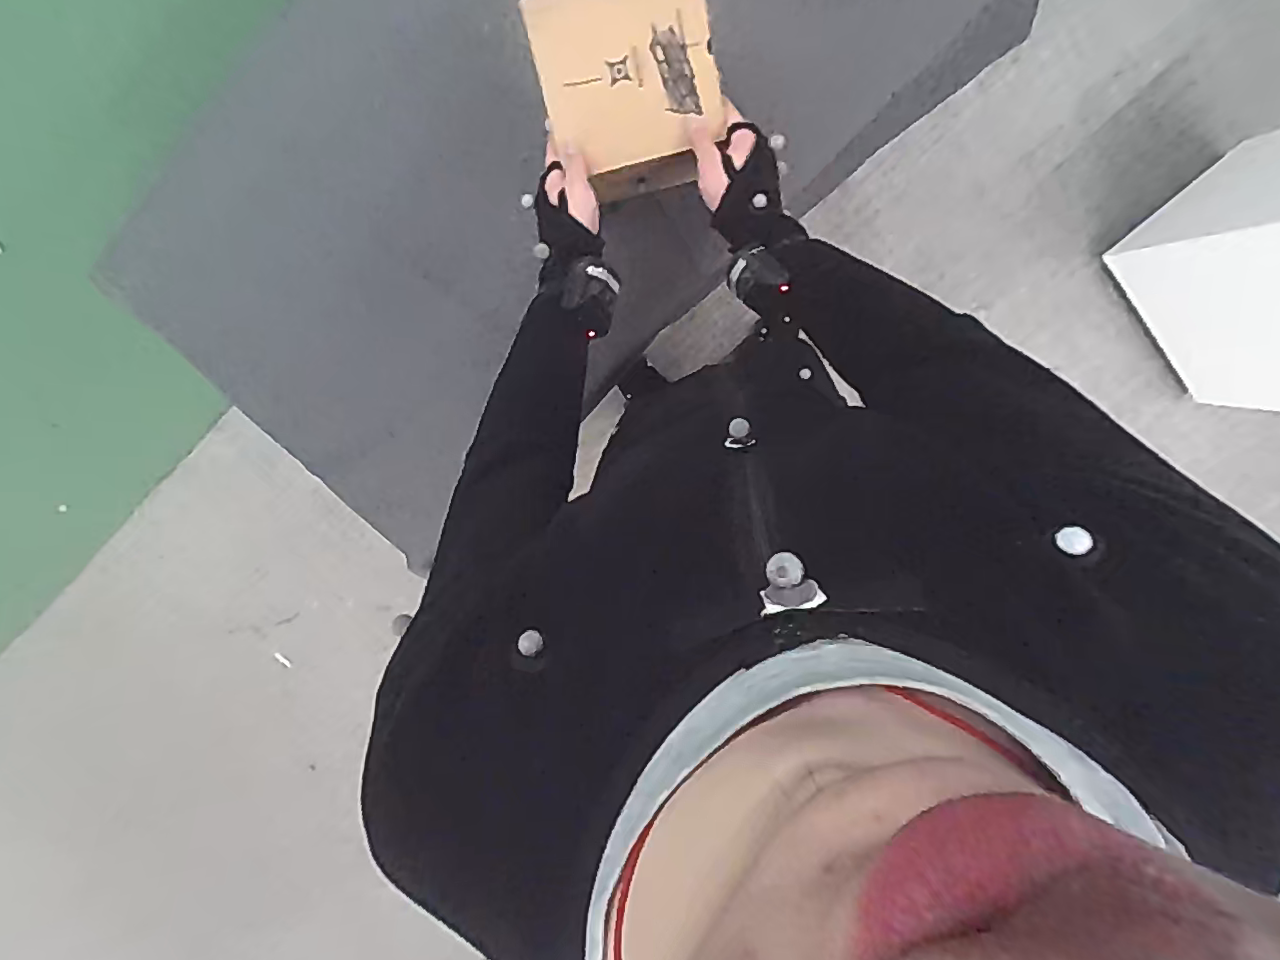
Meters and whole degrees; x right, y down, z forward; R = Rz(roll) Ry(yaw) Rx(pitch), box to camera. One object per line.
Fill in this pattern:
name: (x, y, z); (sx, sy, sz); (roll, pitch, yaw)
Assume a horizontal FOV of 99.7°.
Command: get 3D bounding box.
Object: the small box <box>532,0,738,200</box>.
small box: (-0.003, -0.423, 0.589); (0.179, 0.176, 0.168); (-11, 107, 4)
